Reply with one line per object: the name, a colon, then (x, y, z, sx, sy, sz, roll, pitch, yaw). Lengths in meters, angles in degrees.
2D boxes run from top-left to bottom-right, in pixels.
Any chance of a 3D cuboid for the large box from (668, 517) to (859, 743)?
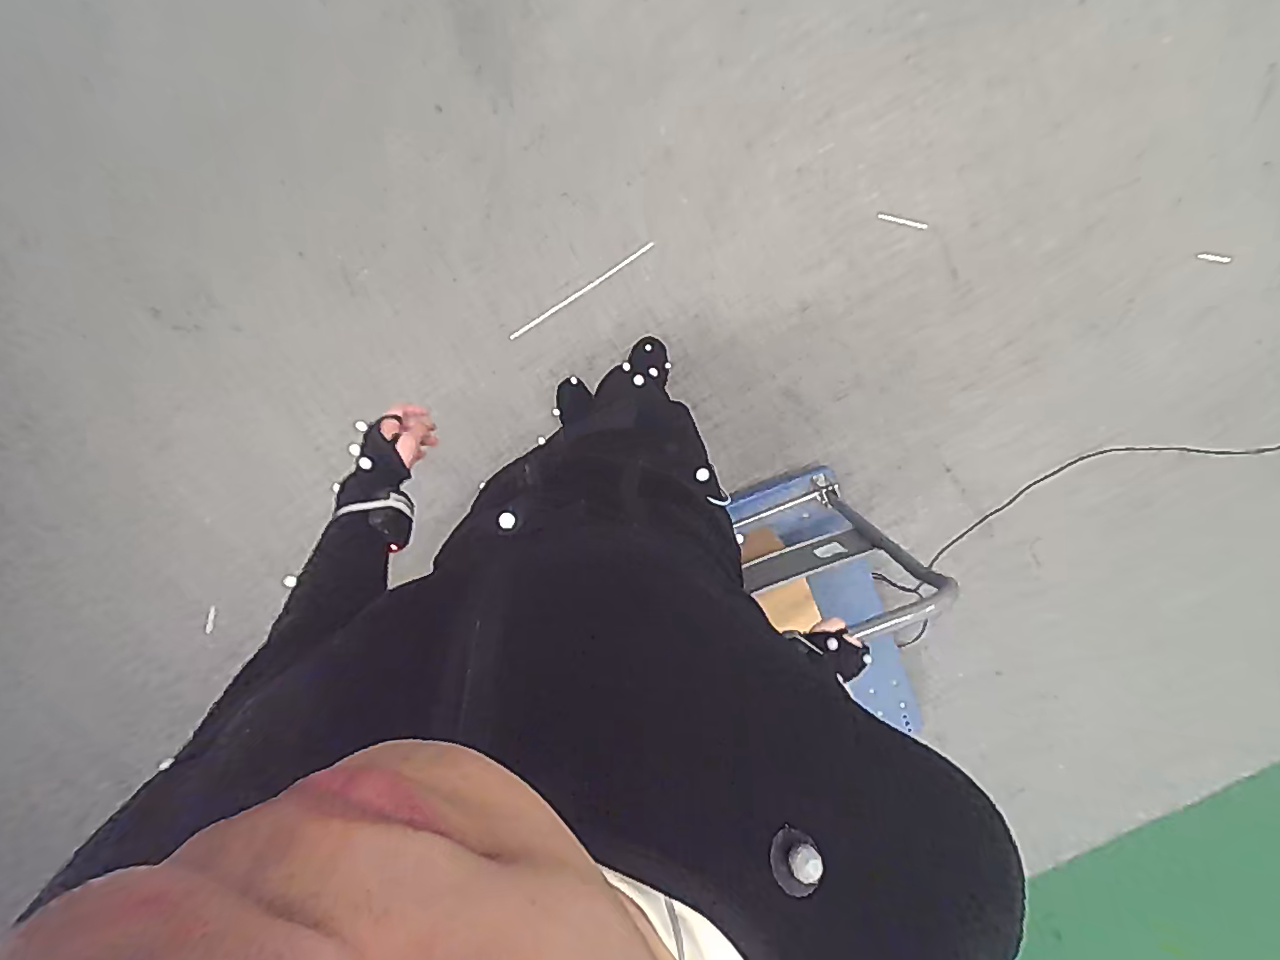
large box: (0.295, 0.364, 1.390, 0.320, 0.320, 0.408, -23, 101, 5)
